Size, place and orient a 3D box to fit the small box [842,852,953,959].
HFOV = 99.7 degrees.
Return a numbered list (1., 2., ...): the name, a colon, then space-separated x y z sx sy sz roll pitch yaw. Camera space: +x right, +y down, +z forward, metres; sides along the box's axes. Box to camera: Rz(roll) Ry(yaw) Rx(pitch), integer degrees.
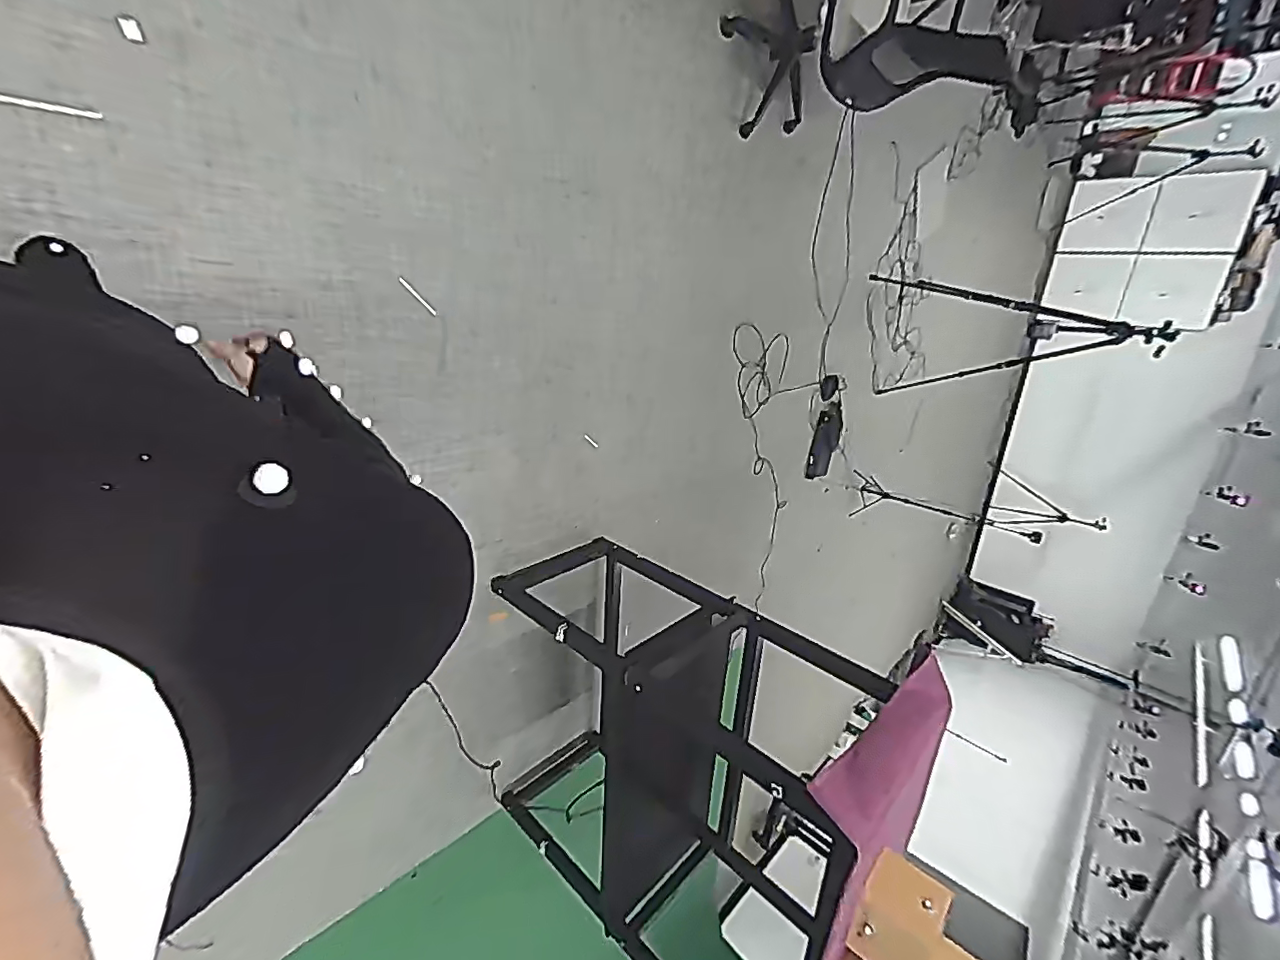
1. small box: 0.599 1.030 1.262 0.179 0.176 0.168 -12 113 -46
